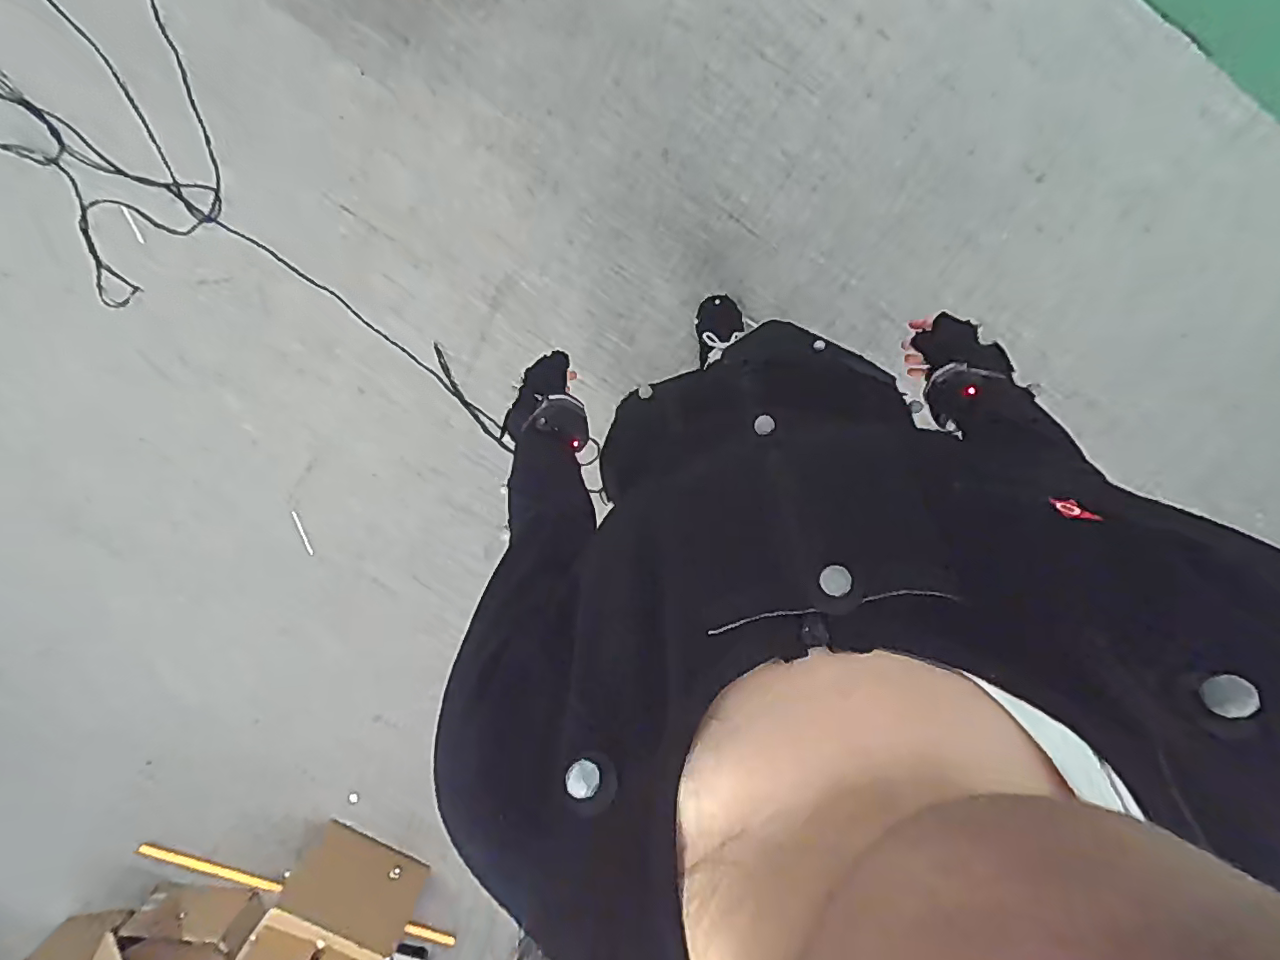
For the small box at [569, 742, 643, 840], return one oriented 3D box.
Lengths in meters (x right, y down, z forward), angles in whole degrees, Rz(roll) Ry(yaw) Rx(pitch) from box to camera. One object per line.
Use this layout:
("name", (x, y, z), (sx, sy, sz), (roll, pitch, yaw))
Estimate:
("small box", (-0.099, 0.979, 1.711), (0.168, 0.176, 0.179), (31, 105, -7))
